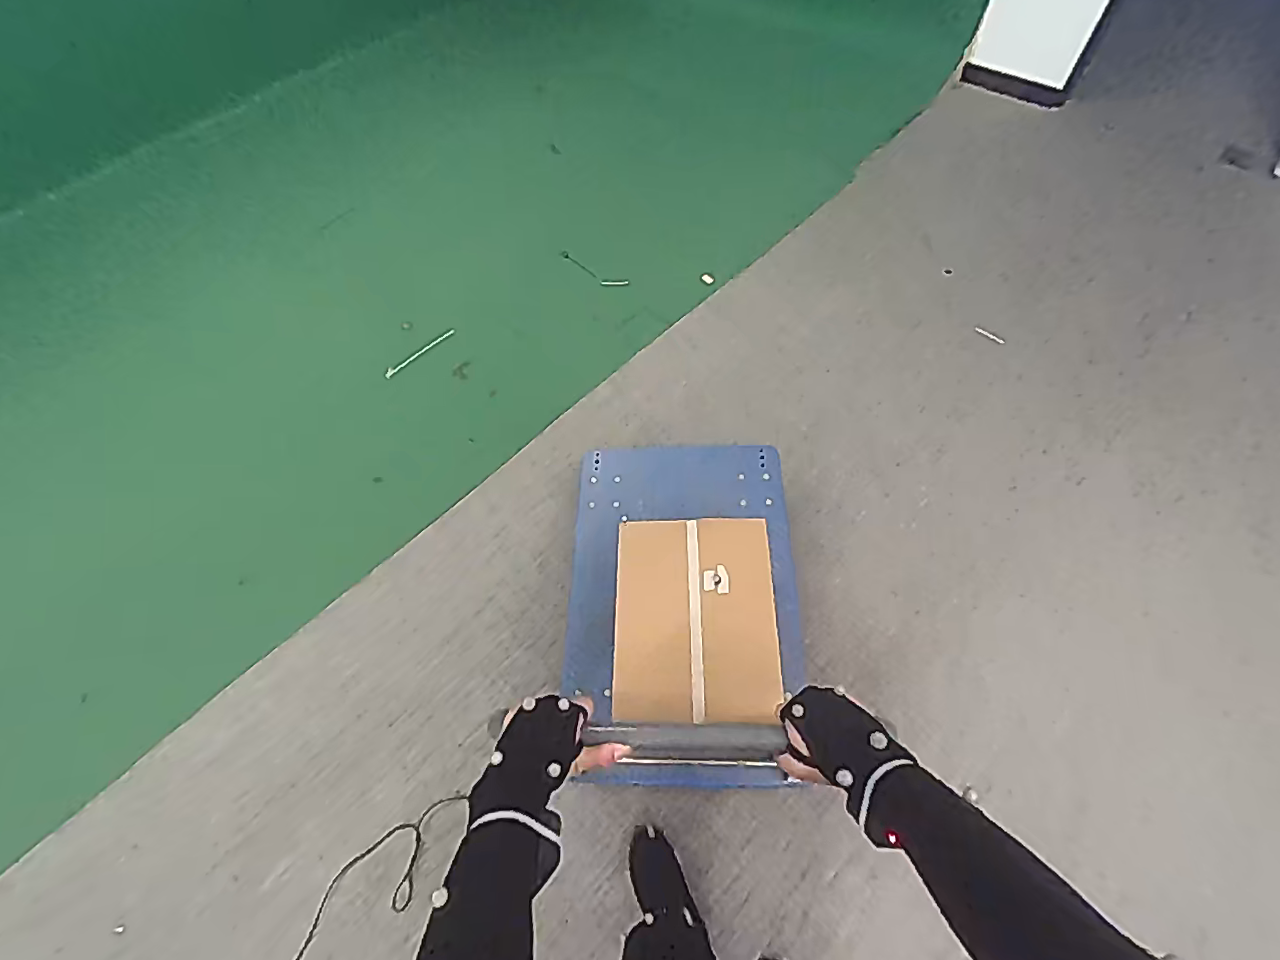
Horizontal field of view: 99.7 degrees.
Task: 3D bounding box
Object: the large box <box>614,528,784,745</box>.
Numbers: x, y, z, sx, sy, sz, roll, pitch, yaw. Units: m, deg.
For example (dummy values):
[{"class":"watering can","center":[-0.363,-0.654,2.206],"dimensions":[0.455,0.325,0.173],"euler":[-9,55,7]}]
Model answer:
[{"class":"large box","center":[0.121,0.357,1.204],"dimensions":[0.320,0.320,0.408],"euler":[-1,60,5]}]
